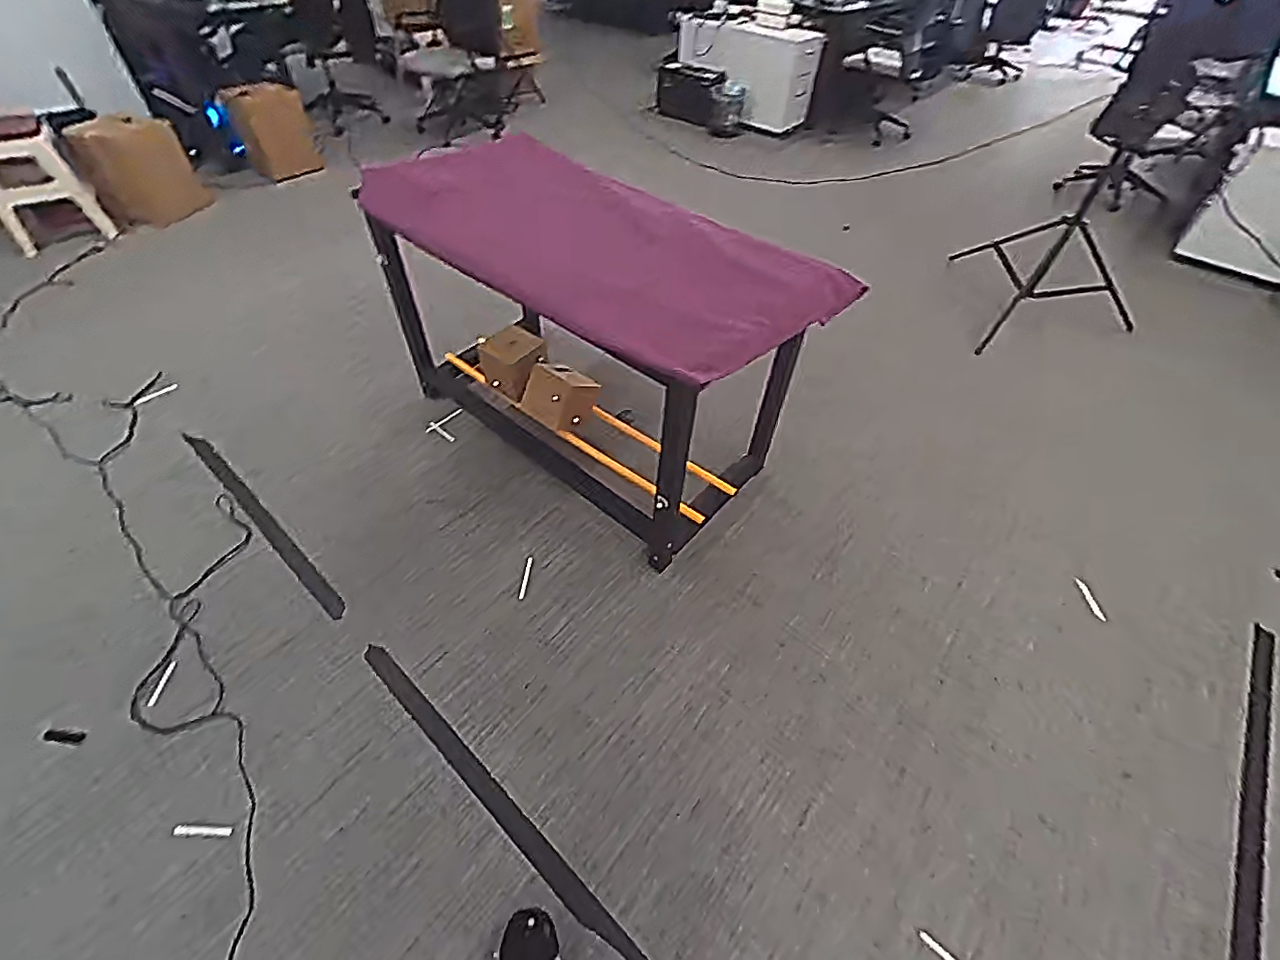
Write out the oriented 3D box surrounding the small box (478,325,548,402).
[{"bbox_3d":[-0.439,-0.409,1.902,0.168,0.176,0.179,31,56,22],"label":"small box"}]
